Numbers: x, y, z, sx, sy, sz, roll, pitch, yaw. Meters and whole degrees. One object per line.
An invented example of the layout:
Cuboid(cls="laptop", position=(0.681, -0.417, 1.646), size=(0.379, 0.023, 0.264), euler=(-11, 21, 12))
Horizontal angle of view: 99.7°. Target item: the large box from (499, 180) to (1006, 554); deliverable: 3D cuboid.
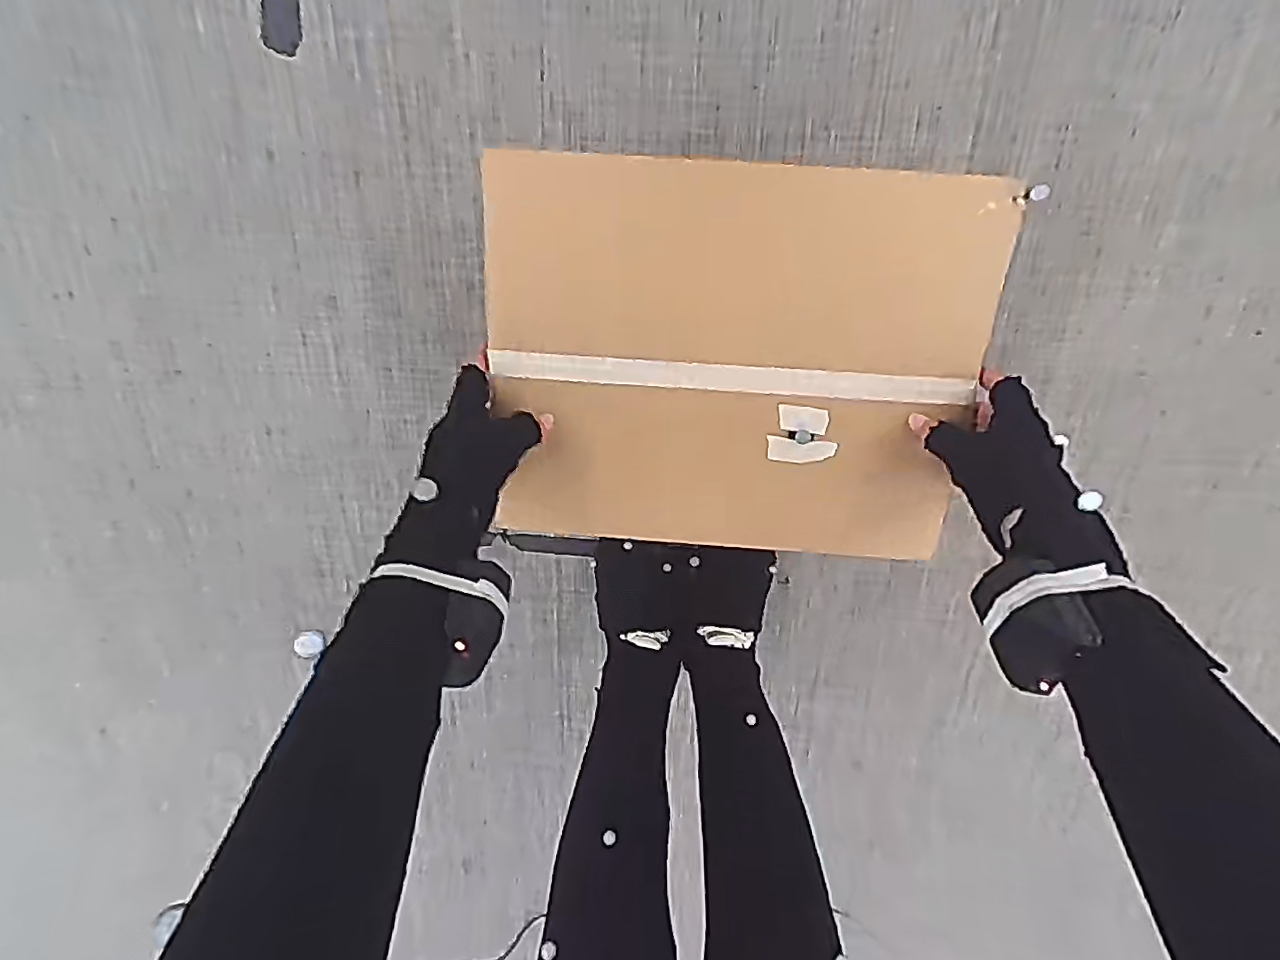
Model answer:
Cuboid(cls="large box", position=(0.086, -0.129, 0.609), size=(0.408, 0.320, 0.320), euler=(3, 109, 2))
